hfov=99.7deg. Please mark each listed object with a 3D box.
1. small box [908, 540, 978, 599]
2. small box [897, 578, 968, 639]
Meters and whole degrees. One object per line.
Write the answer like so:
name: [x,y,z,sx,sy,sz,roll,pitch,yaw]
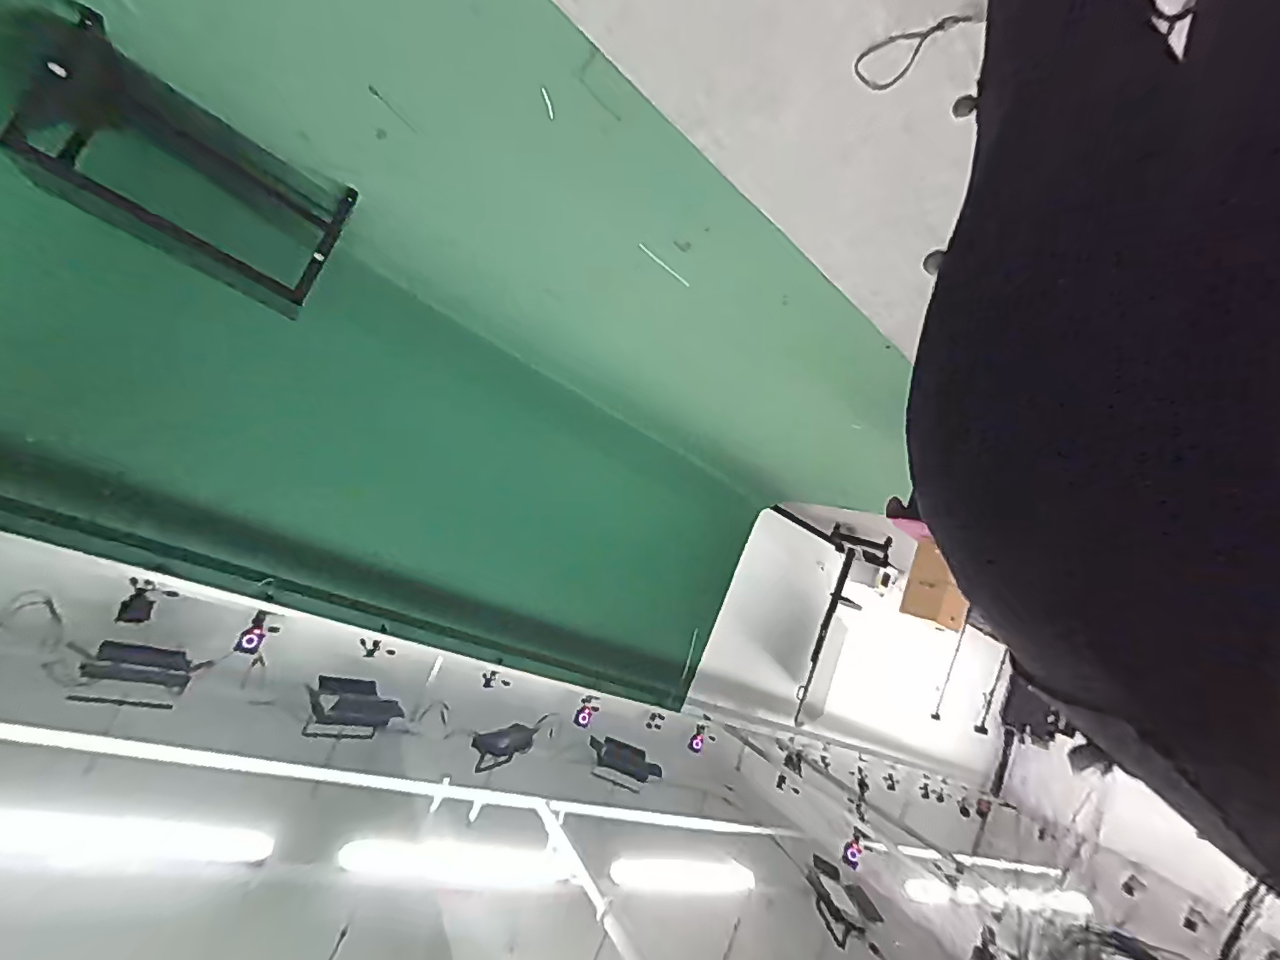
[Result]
small box: [1.222,0.358,2.173,0.179,0.176,0.168,28,169,-31]
small box: [1.165,0.507,2.144,0.179,0.176,0.168,27,169,-28]
